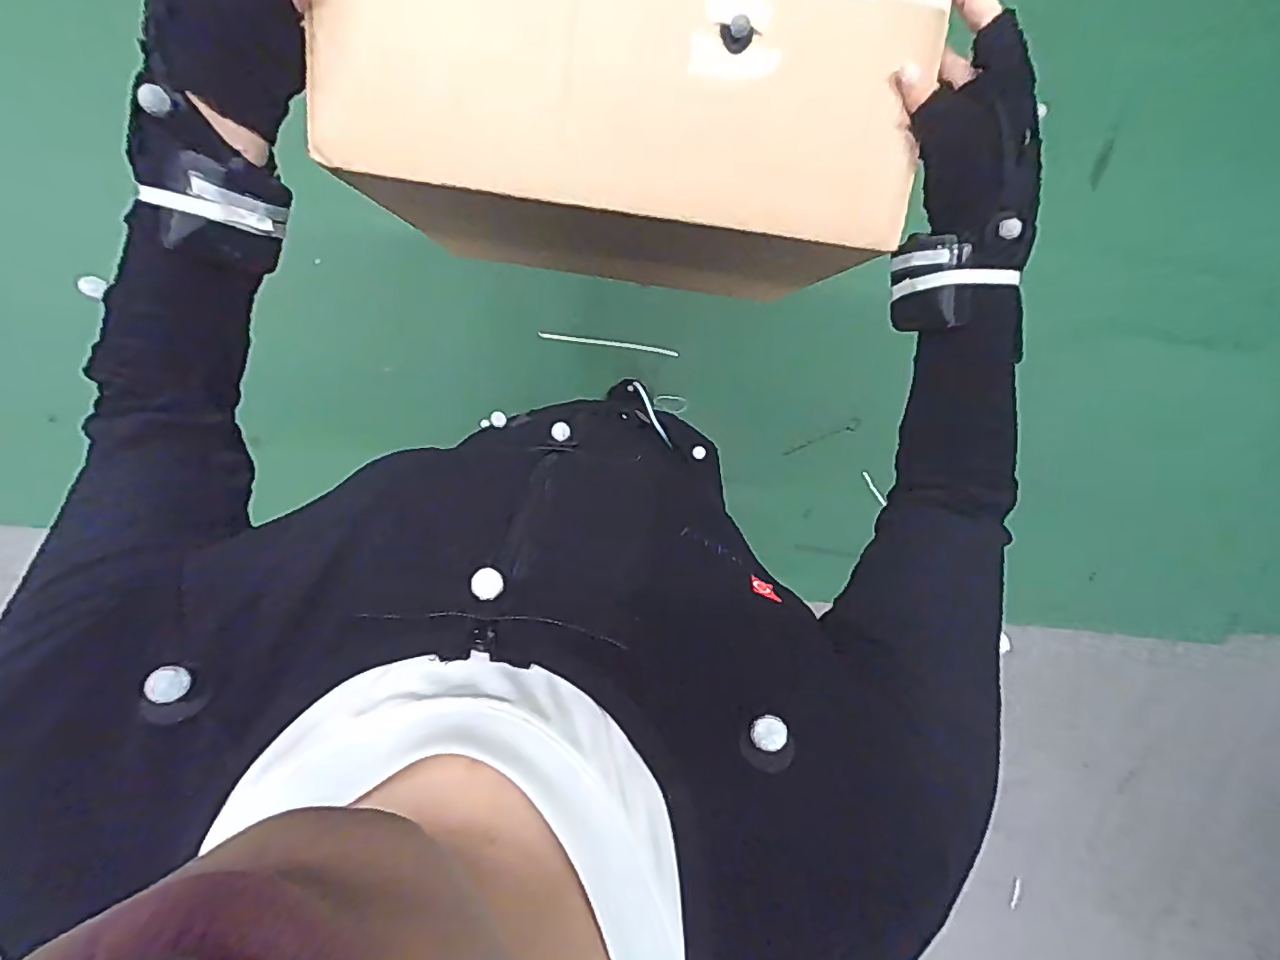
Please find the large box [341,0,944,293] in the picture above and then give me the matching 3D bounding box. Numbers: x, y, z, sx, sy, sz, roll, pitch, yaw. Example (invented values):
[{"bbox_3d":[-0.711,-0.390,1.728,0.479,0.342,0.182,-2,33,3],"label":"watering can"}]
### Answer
[{"bbox_3d":[0.002,-0.373,0.498,0.408,0.320,0.320,7,103,-4],"label":"large box"}]
